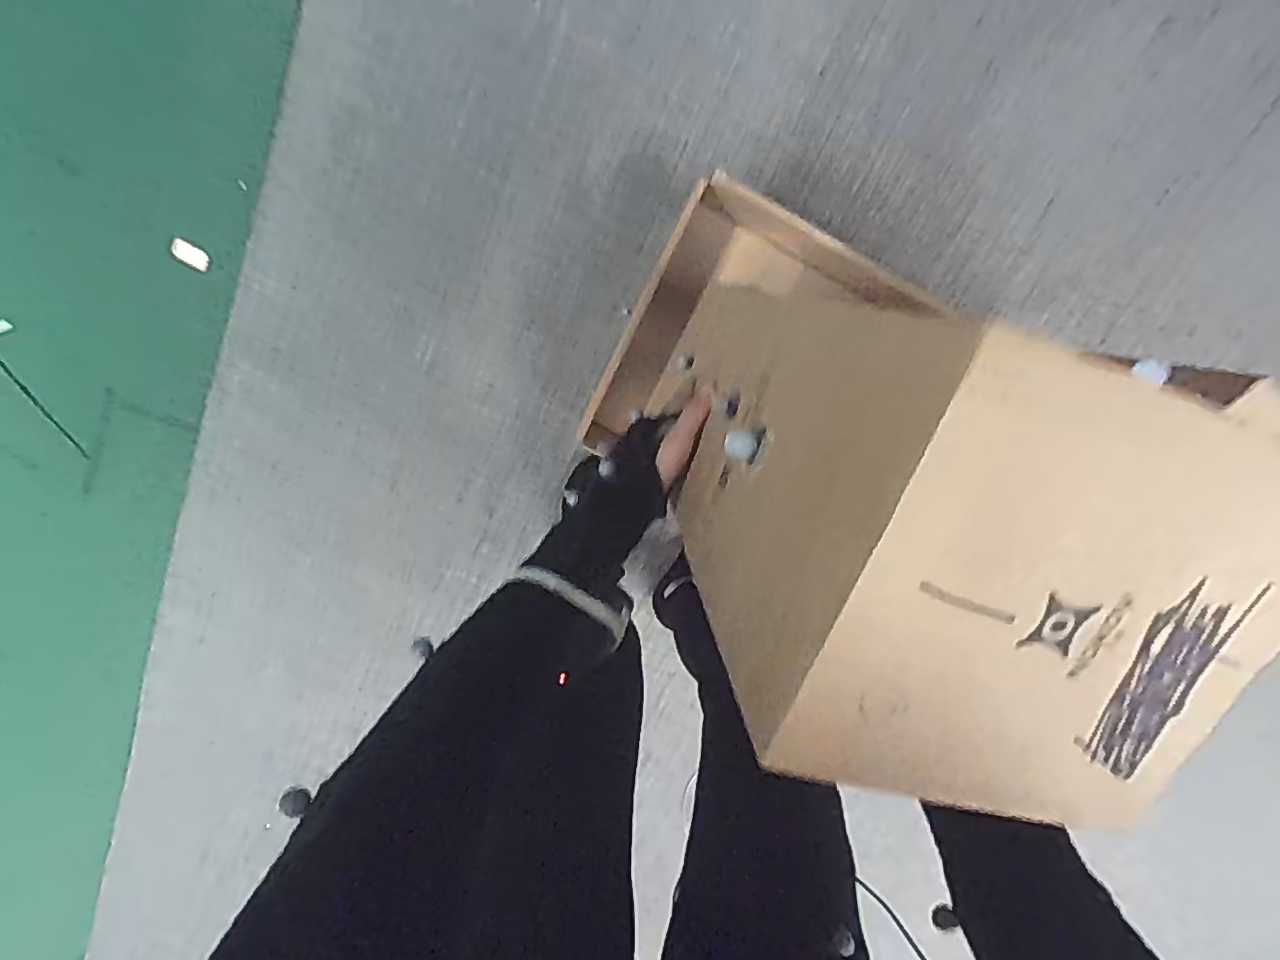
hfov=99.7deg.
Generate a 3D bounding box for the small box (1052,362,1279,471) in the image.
[{"bbox_3d":[0.445,0.012,0.513,0.168,0.176,0.179,38,104,-15],"label":"small box"}]

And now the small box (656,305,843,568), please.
[{"bbox_3d":[0.119,-0.020,0.409,0.168,0.176,0.179,19,109,-11],"label":"small box"}]
